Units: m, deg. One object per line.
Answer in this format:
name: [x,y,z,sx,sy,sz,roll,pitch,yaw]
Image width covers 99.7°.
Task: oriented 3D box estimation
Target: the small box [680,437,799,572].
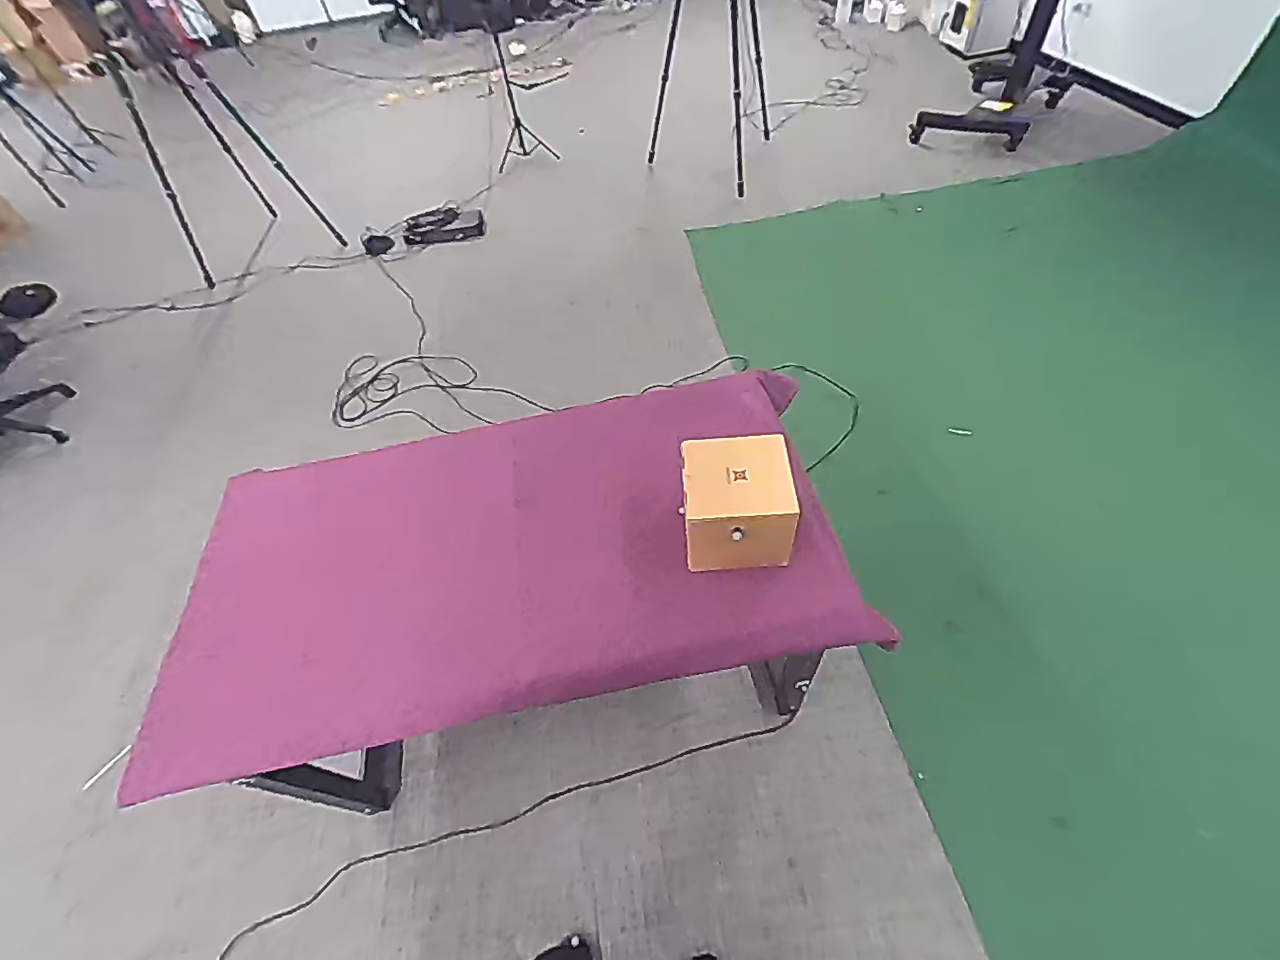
small box: [0.164,0.046,0.934,0.179,0.176,0.168,-5,52,6]
